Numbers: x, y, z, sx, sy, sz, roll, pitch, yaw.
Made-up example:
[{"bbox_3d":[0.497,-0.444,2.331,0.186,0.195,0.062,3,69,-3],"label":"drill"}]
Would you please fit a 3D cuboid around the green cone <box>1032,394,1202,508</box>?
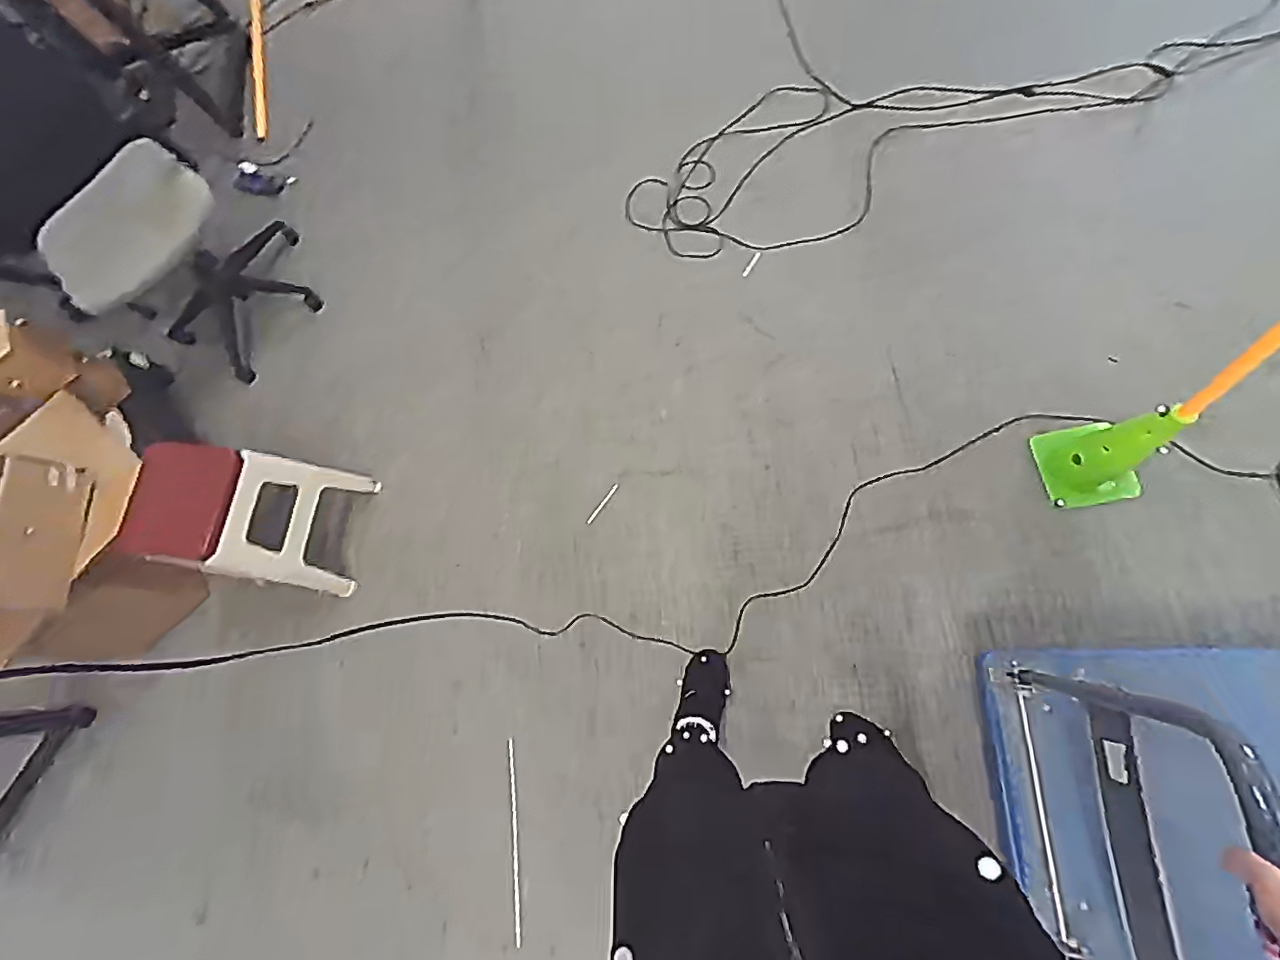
[{"bbox_3d":[1.077,-0.089,1.182,0.200,0.368,0.202,-12,71,9],"label":"green cone"}]
